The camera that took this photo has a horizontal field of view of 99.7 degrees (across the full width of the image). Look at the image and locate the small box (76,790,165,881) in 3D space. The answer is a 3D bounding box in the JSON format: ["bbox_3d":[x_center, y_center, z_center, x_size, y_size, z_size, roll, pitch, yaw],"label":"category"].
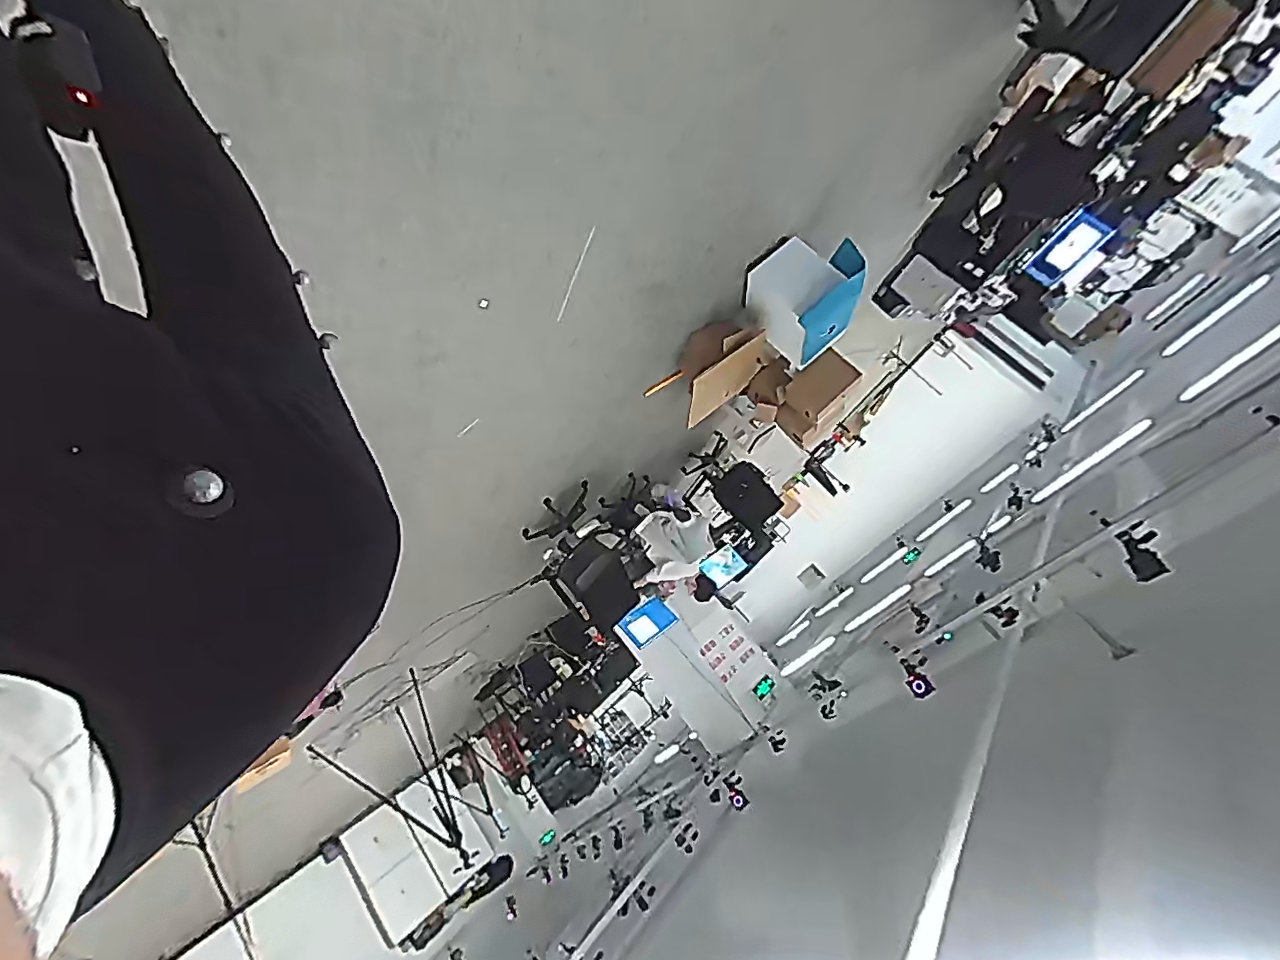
[{"bbox_3d":[-1.556,1.040,1.606,0.168,0.176,0.179,-25,156,-45],"label":"small box"}]

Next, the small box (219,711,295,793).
[{"bbox_3d":[-1.305,0.920,1.843,0.168,0.176,0.179,-23,156,-44],"label":"small box"}]

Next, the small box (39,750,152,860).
[{"bbox_3d":[-1.418,0.844,1.414,0.168,0.176,0.179,-22,156,-46],"label":"small box"}]
